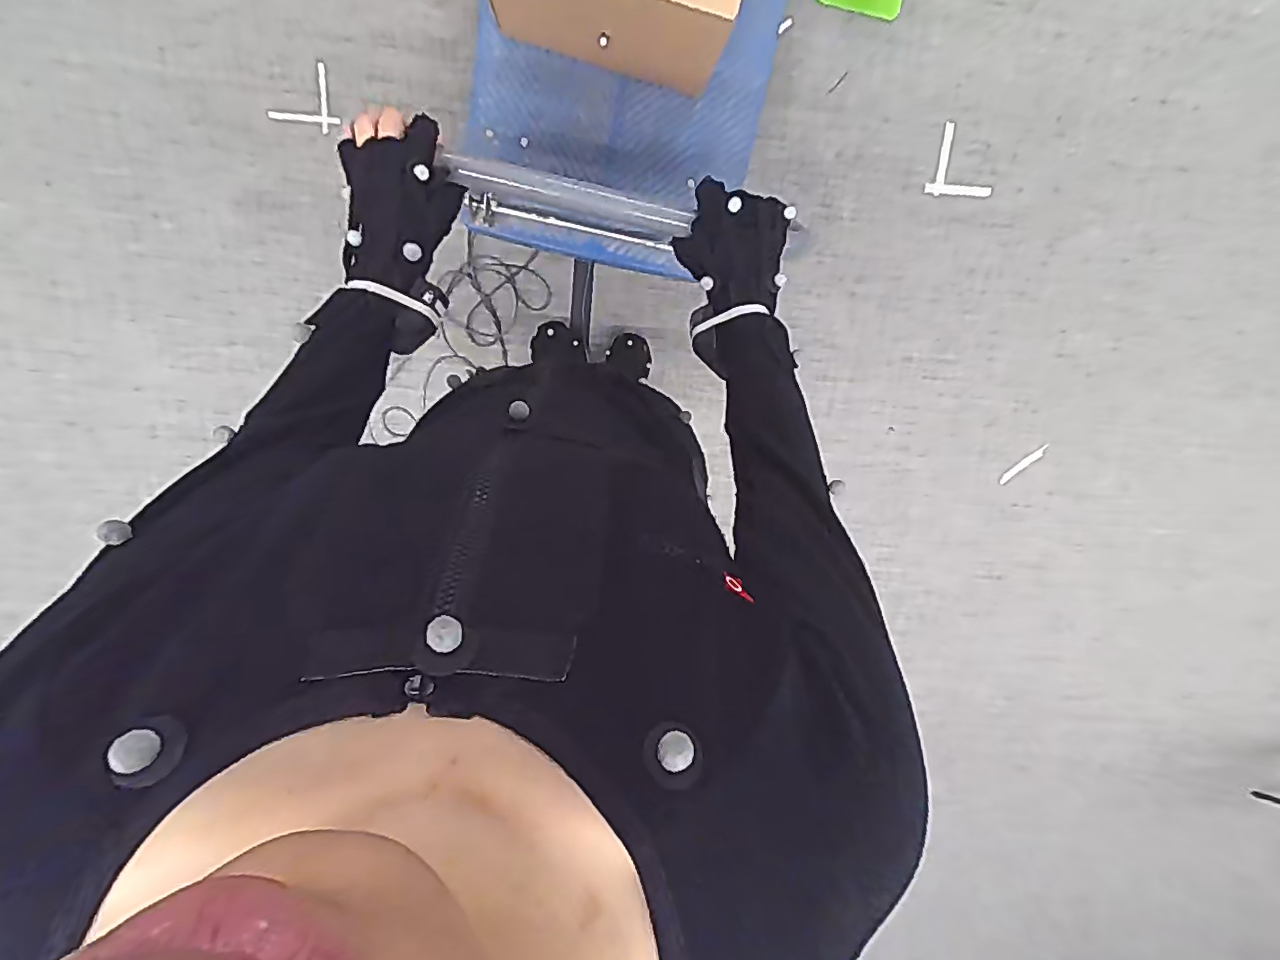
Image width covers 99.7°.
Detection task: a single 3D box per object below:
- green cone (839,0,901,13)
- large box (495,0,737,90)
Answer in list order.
[{"bbox_3d":[0.522,-1.120,1.034,0.202,0.368,0.200,7,106,-8],"label":"green cone"},{"bbox_3d":[-0.026,-0.927,0.904,0.408,0.320,0.320,12,106,-7],"label":"large box"}]
